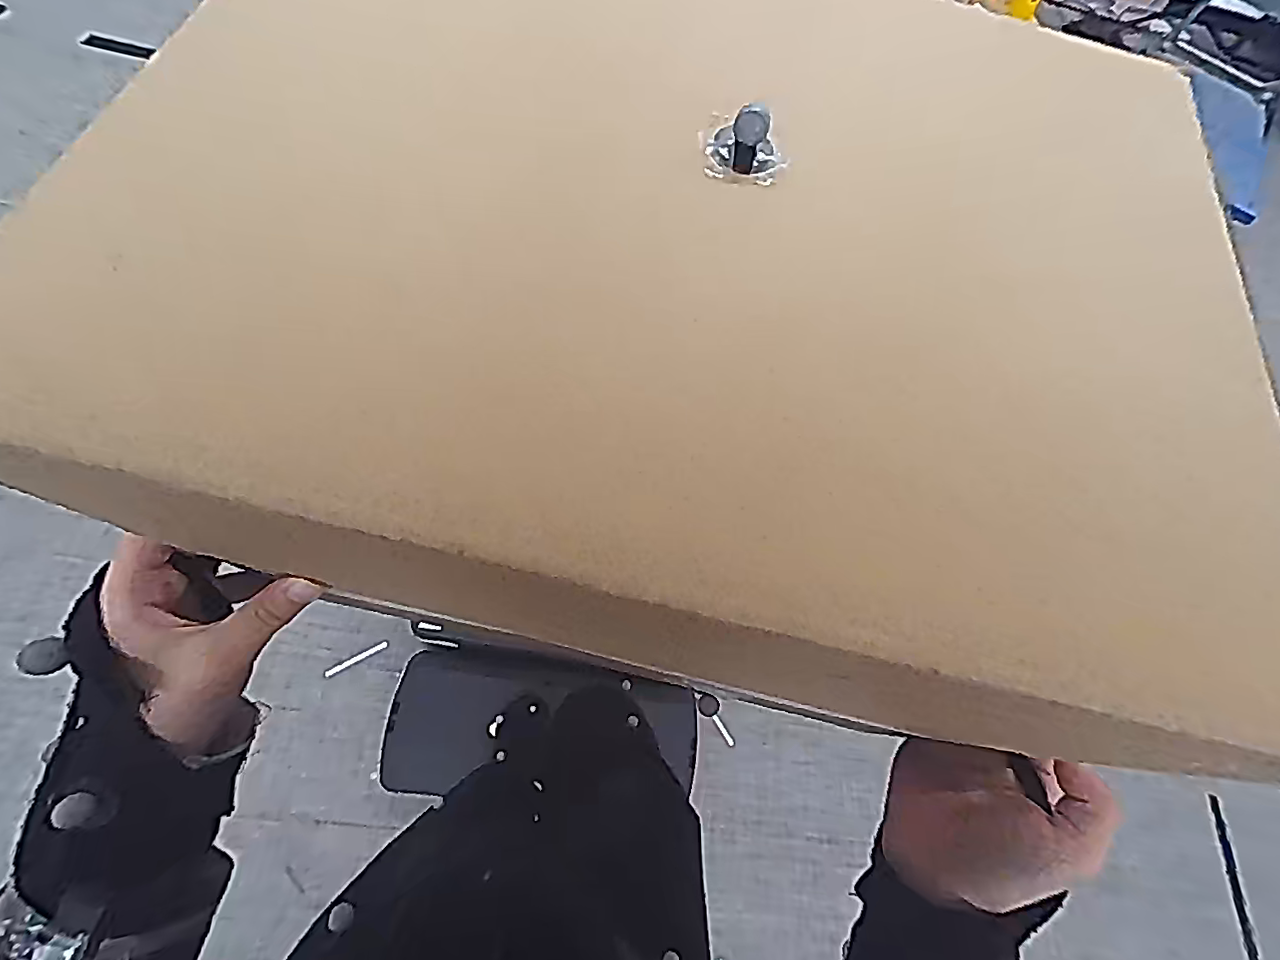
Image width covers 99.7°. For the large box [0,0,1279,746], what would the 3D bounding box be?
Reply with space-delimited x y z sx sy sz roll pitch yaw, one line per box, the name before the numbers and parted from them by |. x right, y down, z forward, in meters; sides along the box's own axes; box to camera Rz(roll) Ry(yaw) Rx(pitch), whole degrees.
large box | 0.006 -0.060 0.330 0.408 0.320 0.320 13 70 -1

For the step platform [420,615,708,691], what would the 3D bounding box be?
step platform | -0.145 0.273 1.264 0.684 0.204 0.286 16 69 -5
